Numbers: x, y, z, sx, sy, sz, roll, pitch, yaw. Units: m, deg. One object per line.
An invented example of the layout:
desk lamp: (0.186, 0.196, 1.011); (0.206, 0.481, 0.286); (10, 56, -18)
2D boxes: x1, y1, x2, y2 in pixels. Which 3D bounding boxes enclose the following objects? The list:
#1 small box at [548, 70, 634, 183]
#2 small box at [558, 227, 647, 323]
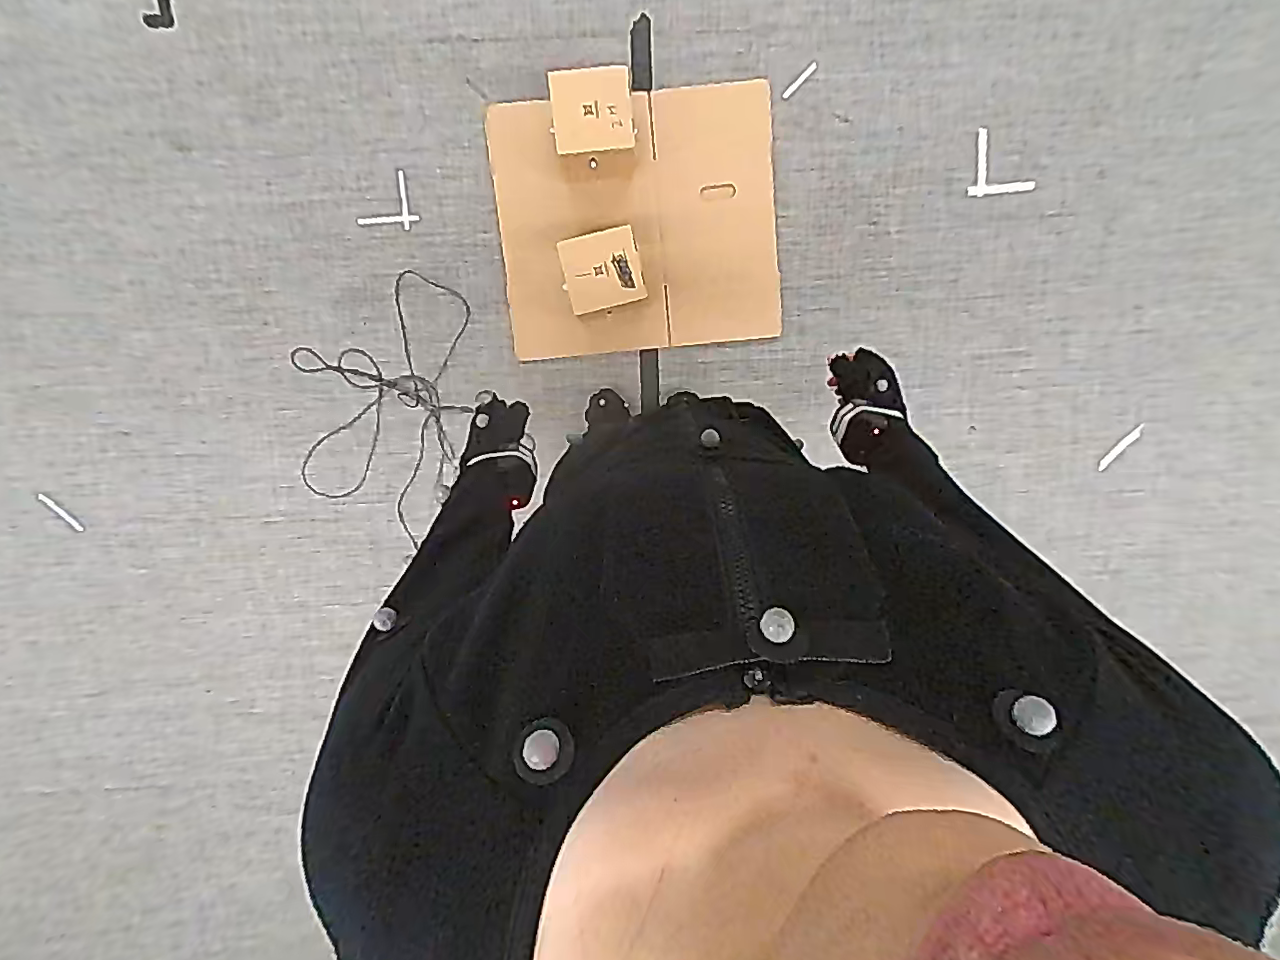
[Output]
small box: (-0.108, -0.811, 1.256); (0.179, 0.176, 0.168); (-6, 100, -2)
small box: (-0.089, -0.489, 1.312); (0.179, 0.176, 0.168); (-14, 100, 1)
